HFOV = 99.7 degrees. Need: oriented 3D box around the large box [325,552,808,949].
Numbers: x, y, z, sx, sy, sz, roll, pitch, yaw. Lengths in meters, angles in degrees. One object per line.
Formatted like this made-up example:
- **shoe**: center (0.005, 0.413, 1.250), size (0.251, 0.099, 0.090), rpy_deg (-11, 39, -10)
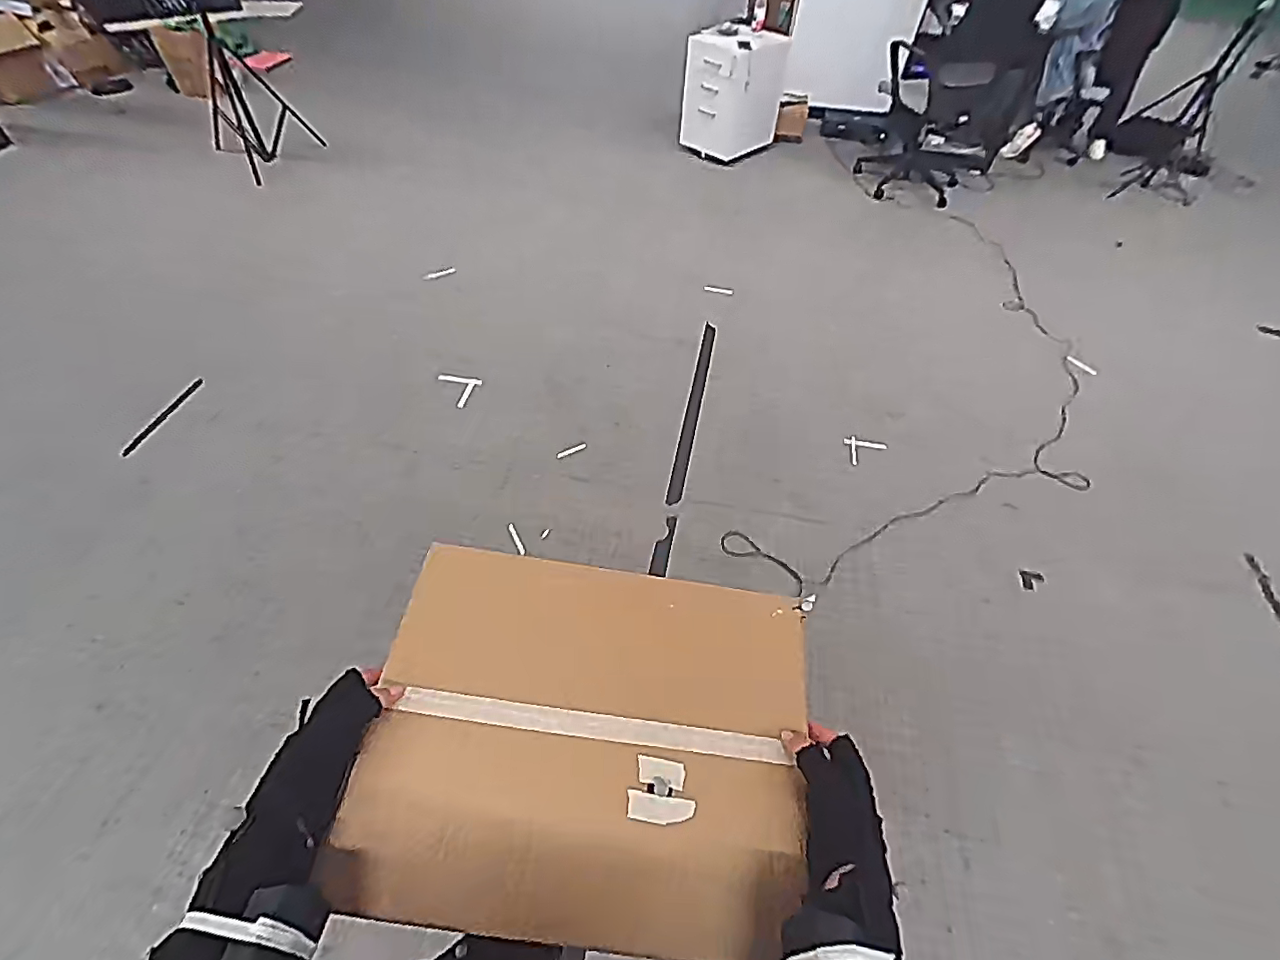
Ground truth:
- **large box**: center (-0.061, 0.312, 0.641), size (0.408, 0.320, 0.320), rpy_deg (9, 57, -2)
